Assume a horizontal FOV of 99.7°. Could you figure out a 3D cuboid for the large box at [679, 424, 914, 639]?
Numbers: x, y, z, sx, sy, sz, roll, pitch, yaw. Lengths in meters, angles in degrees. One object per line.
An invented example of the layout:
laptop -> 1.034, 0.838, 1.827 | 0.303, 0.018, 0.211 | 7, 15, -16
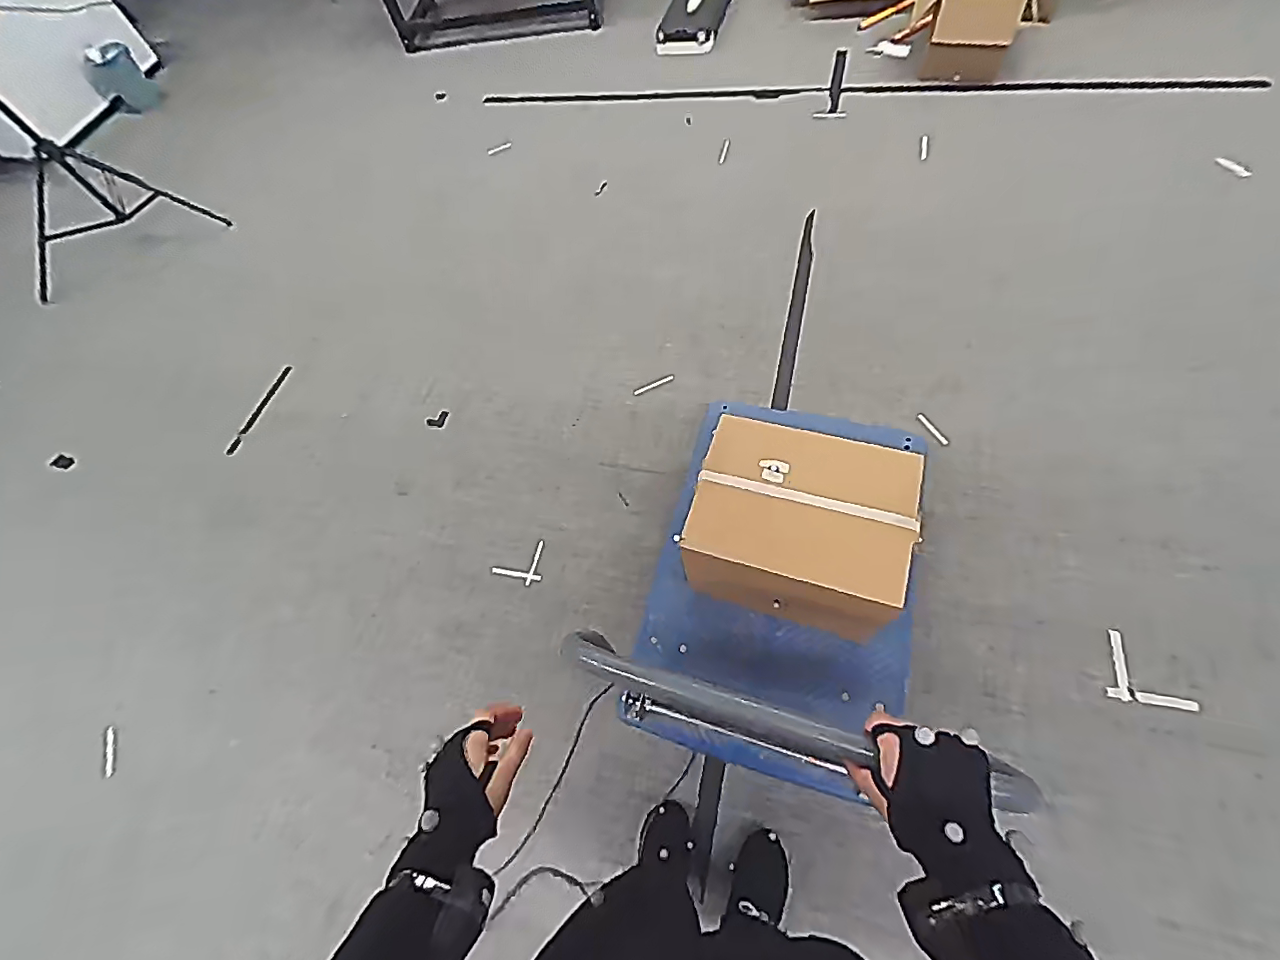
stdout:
large box -> 0.332, 0.118, 1.182 | 0.408, 0.320, 0.320 | 13, 64, 16
